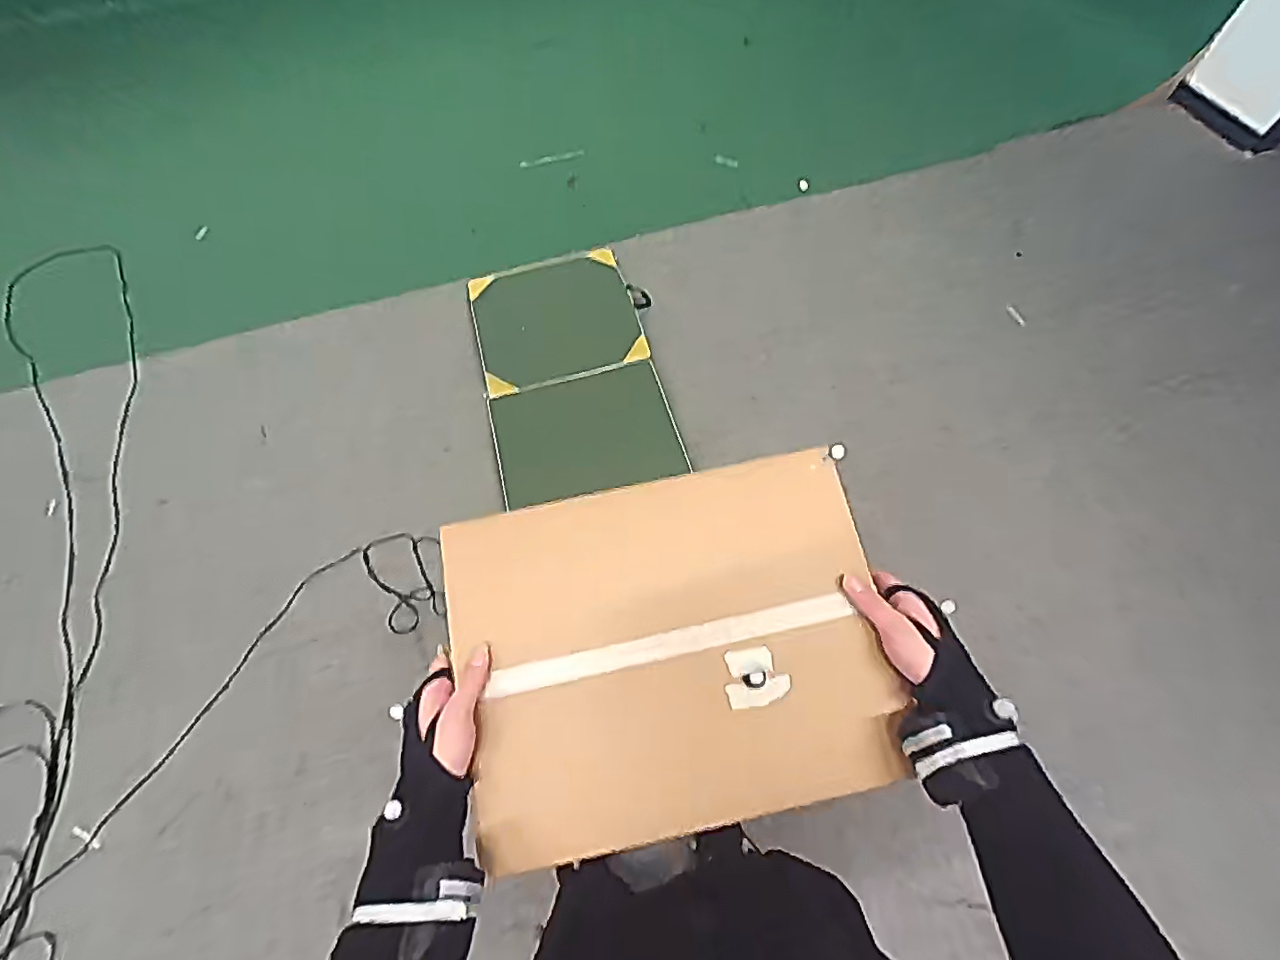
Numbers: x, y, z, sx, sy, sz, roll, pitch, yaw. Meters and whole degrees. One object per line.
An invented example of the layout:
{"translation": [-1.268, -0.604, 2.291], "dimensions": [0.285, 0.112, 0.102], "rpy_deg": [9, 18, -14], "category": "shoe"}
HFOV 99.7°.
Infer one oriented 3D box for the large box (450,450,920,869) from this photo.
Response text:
{"translation": [0.031, 0.196, 0.663], "dimensions": [0.408, 0.320, 0.320], "rpy_deg": [-12, 74, -4], "category": "large box"}
